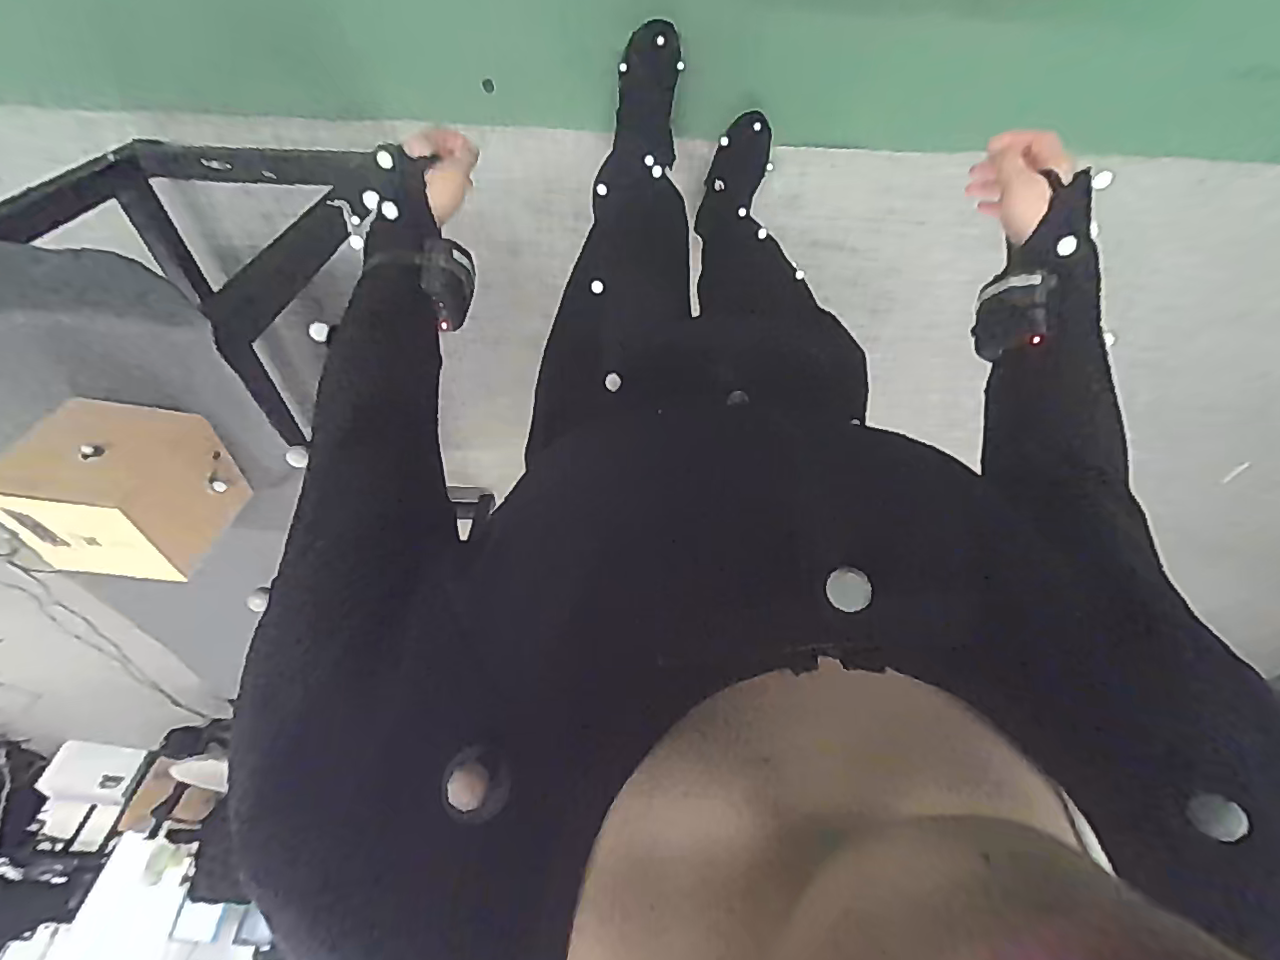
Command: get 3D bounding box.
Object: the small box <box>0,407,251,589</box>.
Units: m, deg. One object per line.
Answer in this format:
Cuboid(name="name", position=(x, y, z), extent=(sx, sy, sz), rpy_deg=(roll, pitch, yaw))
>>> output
Cuboid(name="small box", position=(-0.679, 0.022, 0.723), extent=(0.179, 0.176, 0.168), rpy_deg=(7, 138, -3))
